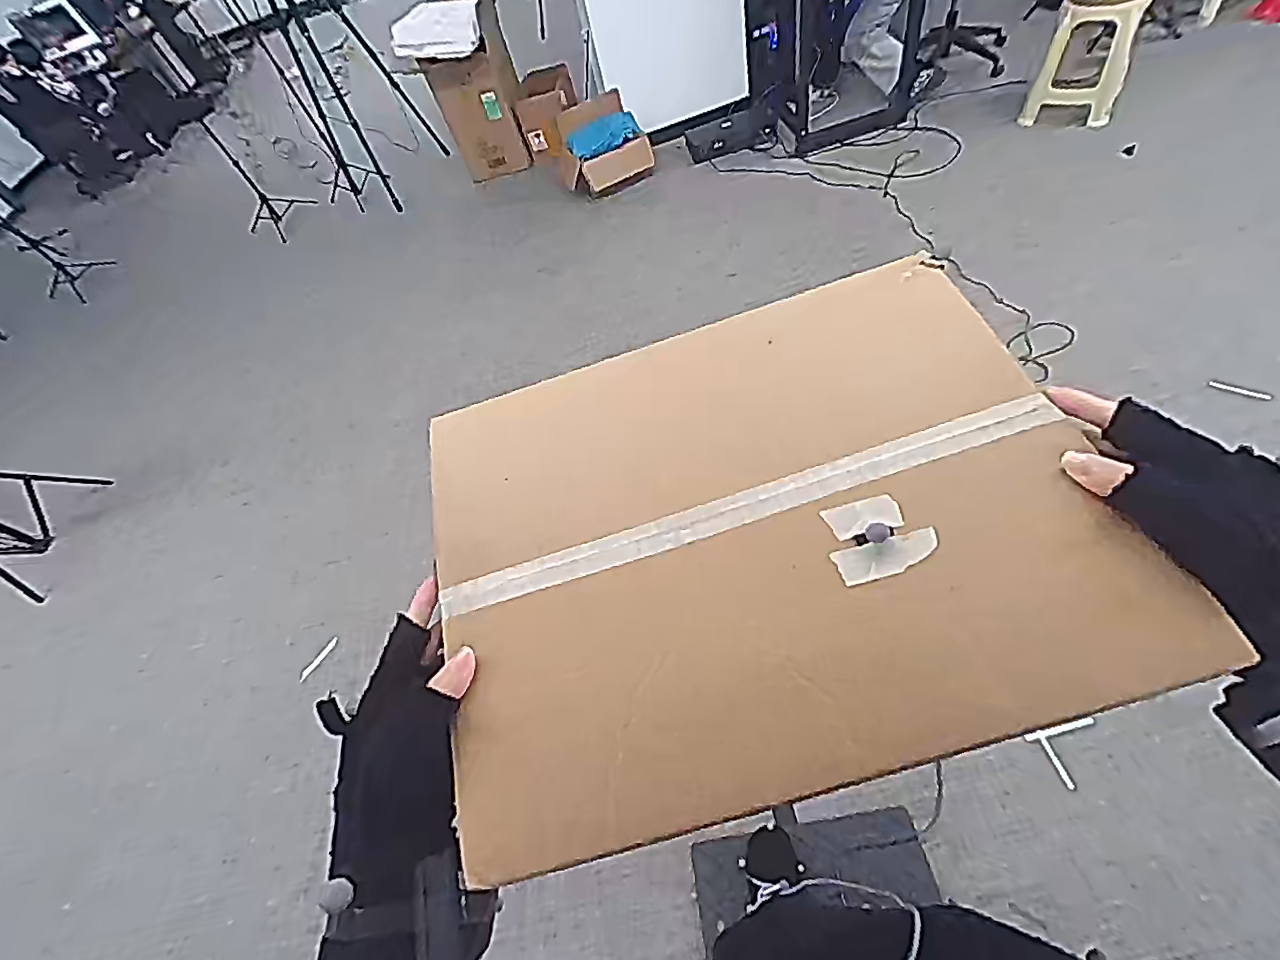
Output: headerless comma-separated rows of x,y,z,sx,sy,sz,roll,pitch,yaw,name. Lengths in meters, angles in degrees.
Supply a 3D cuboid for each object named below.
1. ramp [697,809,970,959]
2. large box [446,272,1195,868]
0.406,1.123,0.857,0.509,0.206,0.991,-16,52,6,ramp
0.093,0.092,0.490,0.408,0.320,0.320,-18,61,2,large box
